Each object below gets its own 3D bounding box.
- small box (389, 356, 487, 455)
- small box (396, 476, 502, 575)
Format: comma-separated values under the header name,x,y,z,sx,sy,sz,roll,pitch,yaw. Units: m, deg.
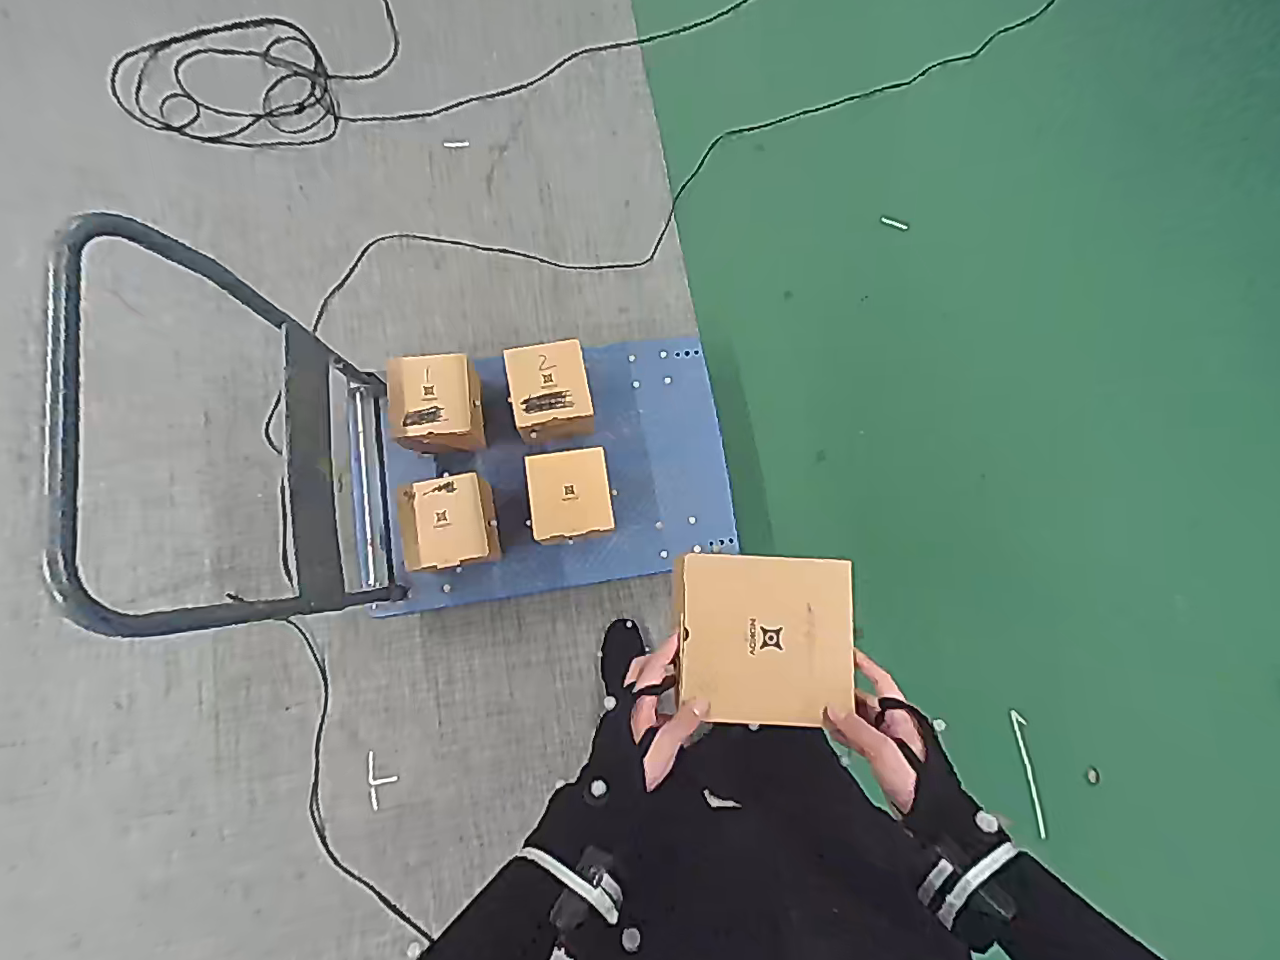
name,x,y,z,sx,sy,sz,roll,pitch,yaw
small box,-0.439,-0.157,1.194,0.168,0.176,0.179,-6,80,-6
small box,-0.398,0.099,1.151,0.168,0.176,0.179,-10,81,-7
